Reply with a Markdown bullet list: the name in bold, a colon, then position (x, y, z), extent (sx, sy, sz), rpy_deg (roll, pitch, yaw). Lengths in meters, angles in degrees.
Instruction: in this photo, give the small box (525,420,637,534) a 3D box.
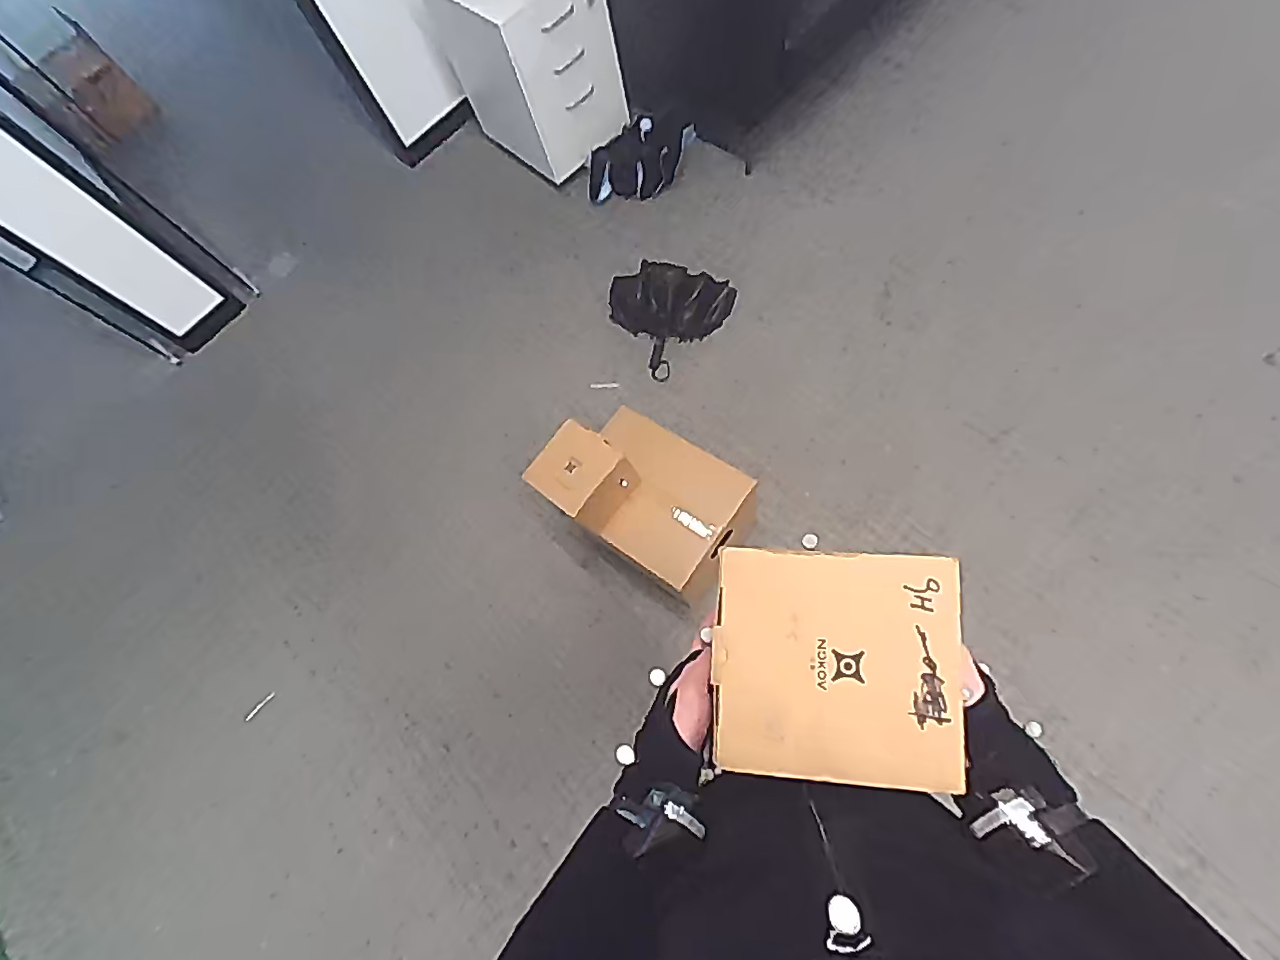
- **small box**: position (-0.124, -0.001, 1.242), extent (0.168, 0.176, 0.179), rpy_deg (35, 84, 23)
